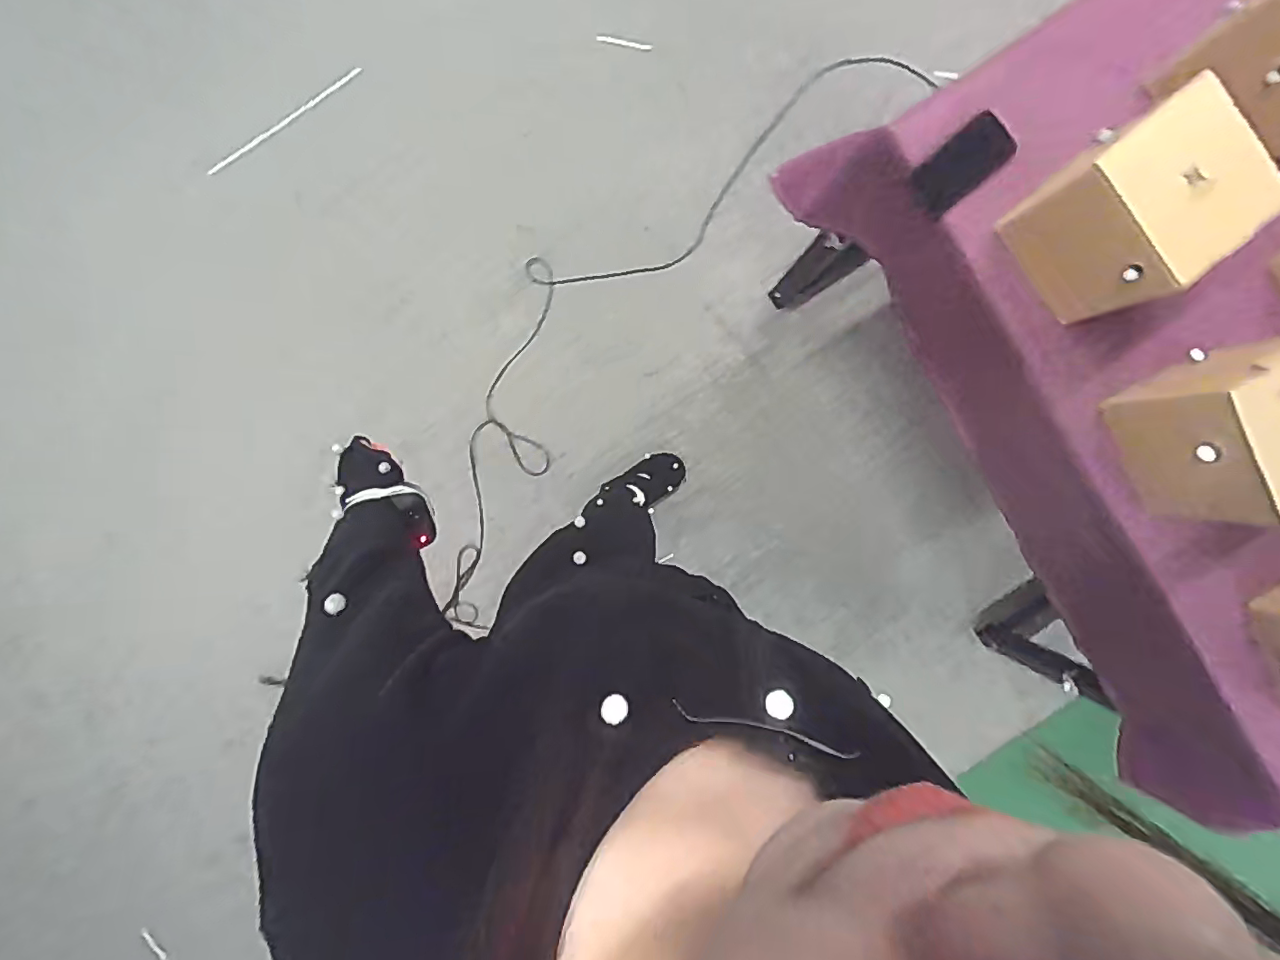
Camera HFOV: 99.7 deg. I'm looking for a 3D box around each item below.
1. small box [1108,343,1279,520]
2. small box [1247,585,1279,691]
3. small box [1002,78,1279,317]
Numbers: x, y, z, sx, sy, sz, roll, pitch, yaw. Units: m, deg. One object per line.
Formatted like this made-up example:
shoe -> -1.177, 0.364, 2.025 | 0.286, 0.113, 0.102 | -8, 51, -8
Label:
small box -> 0.771, -0.064, 0.701 | 0.168, 0.176, 0.179 | -27, 94, -1
small box -> 0.998, 0.229, 0.721 | 0.168, 0.176, 0.179 | -25, 93, -1
small box -> 0.616, -0.336, 0.685 | 0.168, 0.176, 0.179 | -38, 94, -1
